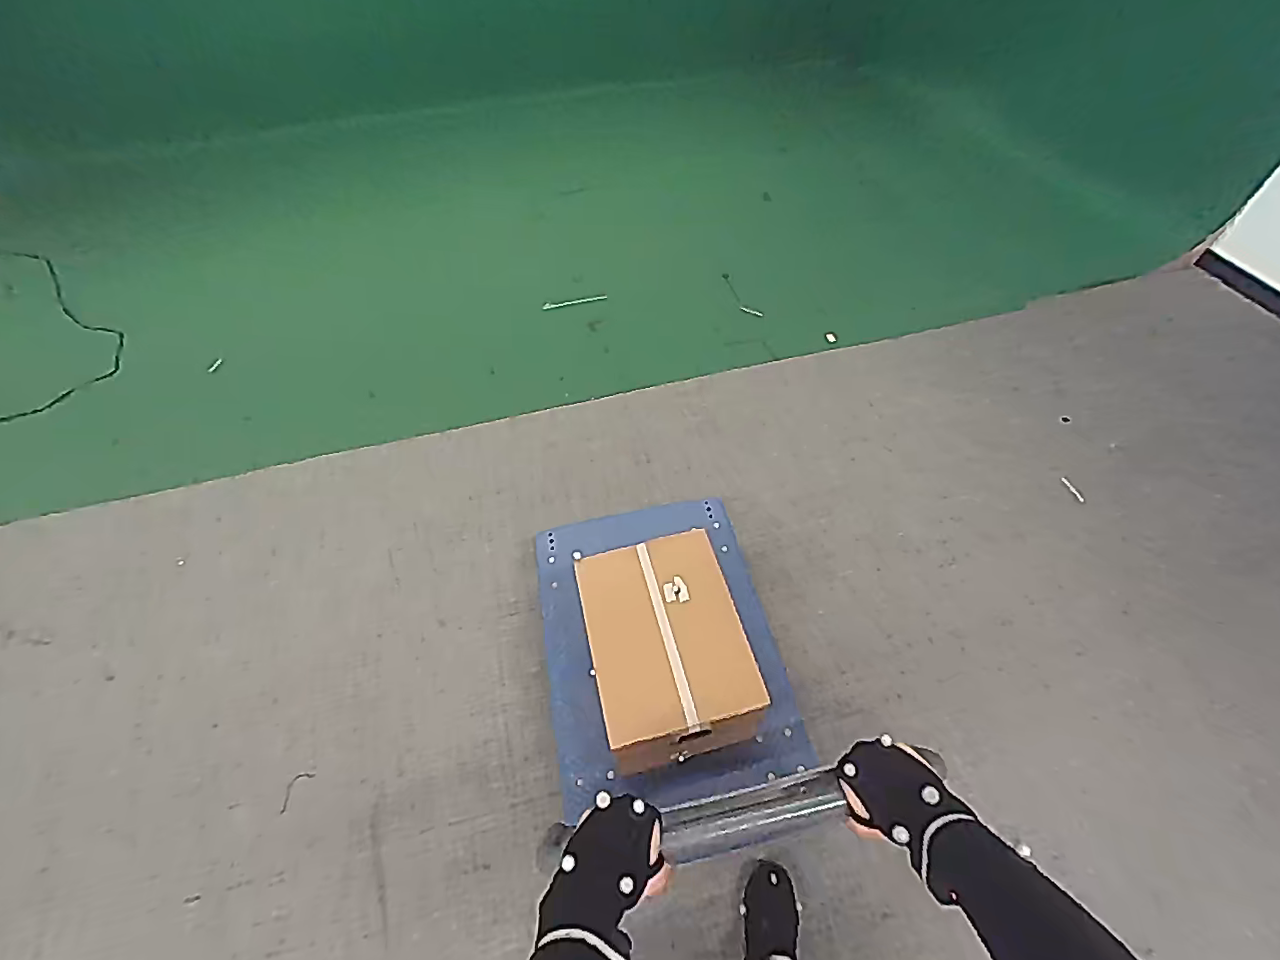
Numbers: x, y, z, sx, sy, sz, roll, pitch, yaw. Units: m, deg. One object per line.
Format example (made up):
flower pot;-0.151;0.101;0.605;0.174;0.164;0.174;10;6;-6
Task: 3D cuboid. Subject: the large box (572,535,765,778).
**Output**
large box;0.052;0.404;1.242;0.320;0.320;0.408;-13;54;-7
